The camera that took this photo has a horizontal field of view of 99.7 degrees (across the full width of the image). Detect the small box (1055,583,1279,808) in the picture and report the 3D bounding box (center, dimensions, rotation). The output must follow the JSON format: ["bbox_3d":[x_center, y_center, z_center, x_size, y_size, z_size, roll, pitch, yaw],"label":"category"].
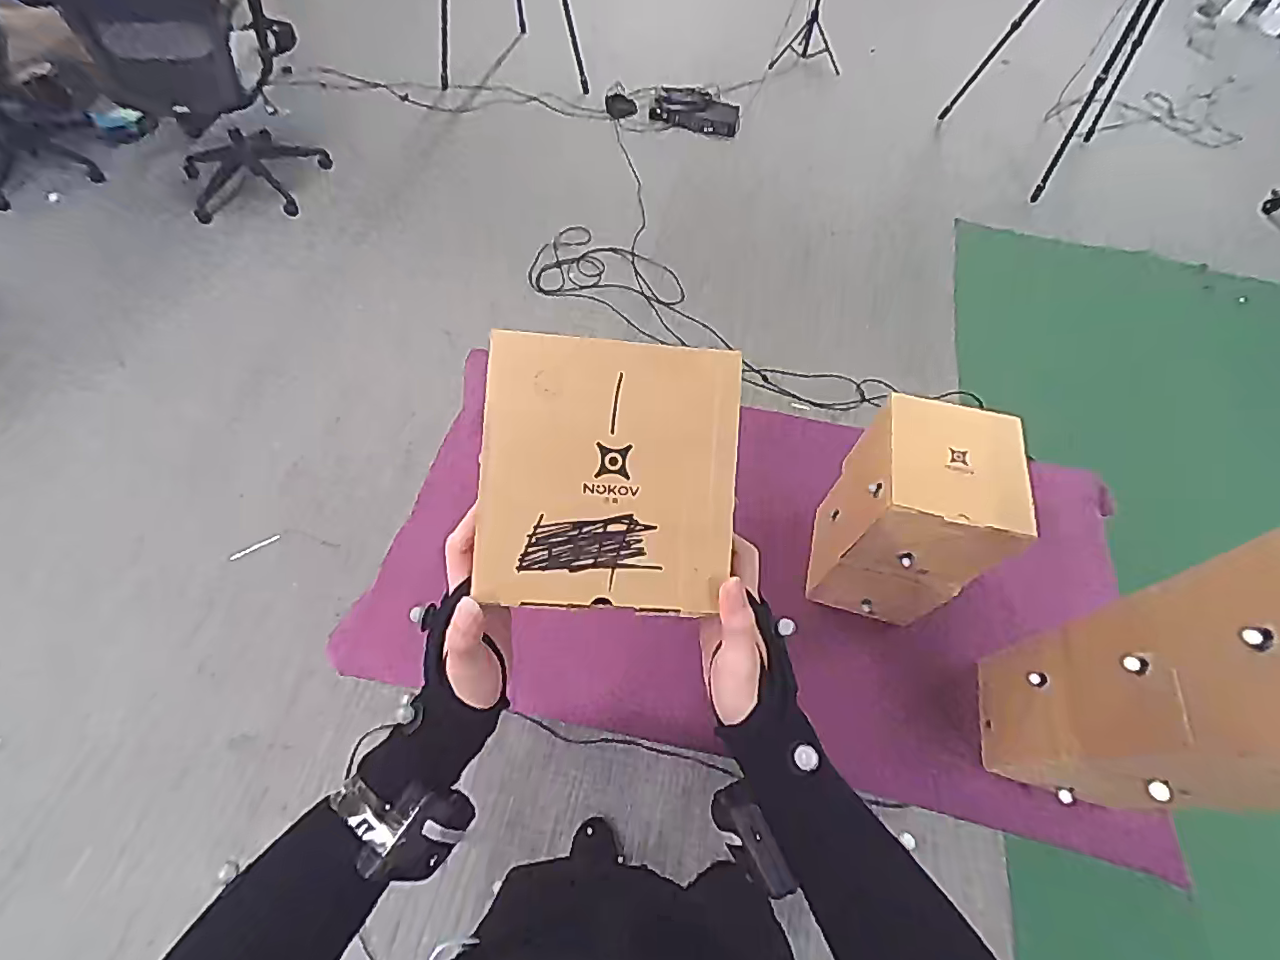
[{"bbox_3d":[0.605,0.244,0.604,0.168,0.176,0.179,14,60,7],"label":"small box"}]

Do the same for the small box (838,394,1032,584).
[{"bbox_3d":[0.378,0.018,0.726,0.168,0.176,0.179,13,61,4],"label":"small box"}]

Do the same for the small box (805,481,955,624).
[{"bbox_3d":[0.376,0.105,0.863,0.168,0.176,0.179,16,60,6],"label":"small box"}]

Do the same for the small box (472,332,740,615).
[{"bbox_3d":[-0.027,-0.001,0.431,0.168,0.176,0.179,4,87,-6],"label":"small box"}]

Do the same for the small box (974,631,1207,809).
[{"bbox_3d":[0.595,0.330,0.742,0.179,0.176,0.168,15,59,6],"label":"small box"}]
